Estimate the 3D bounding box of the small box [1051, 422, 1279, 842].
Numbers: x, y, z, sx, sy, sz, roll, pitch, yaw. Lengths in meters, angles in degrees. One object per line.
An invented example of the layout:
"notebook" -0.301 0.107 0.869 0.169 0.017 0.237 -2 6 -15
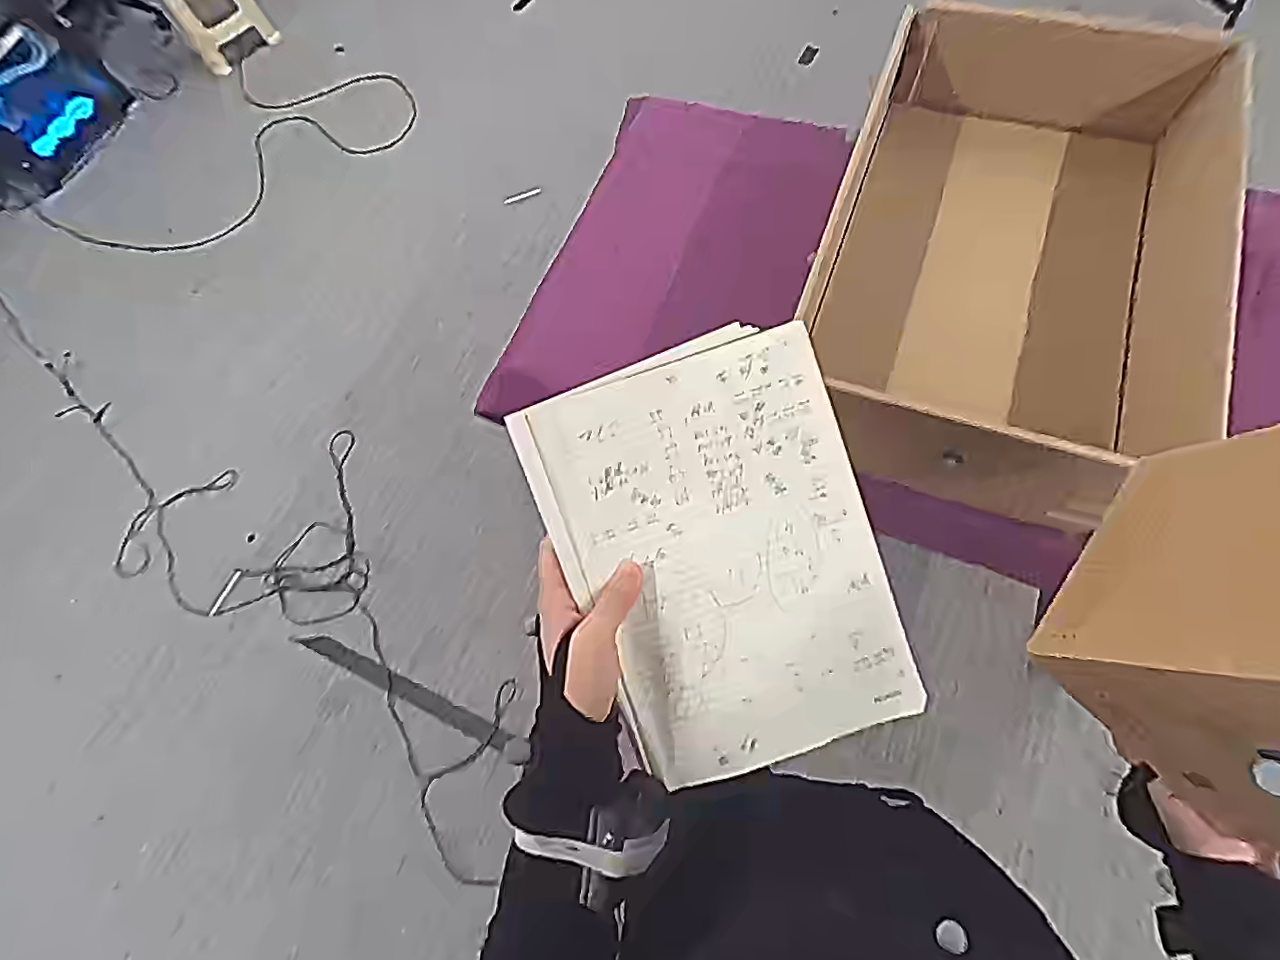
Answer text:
"small box" 0.361 0.078 0.268 0.168 0.176 0.179 43 75 3
